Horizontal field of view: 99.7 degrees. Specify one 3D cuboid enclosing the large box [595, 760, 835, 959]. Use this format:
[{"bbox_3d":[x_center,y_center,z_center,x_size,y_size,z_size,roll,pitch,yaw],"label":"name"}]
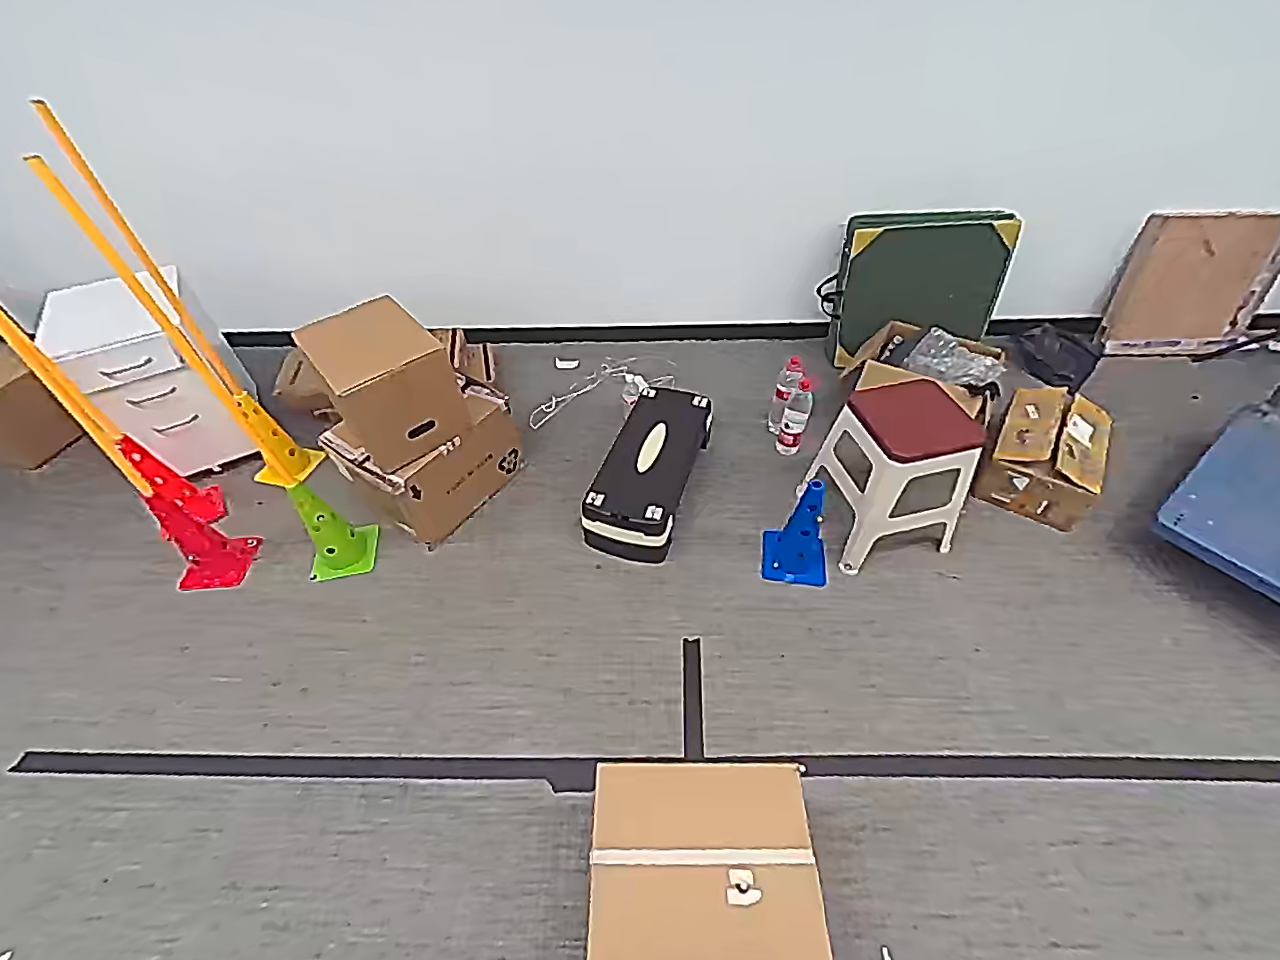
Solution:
[{"bbox_3d":[0.122,0.782,1.092,0.408,0.320,0.320,0,48,0],"label":"large box"}]
